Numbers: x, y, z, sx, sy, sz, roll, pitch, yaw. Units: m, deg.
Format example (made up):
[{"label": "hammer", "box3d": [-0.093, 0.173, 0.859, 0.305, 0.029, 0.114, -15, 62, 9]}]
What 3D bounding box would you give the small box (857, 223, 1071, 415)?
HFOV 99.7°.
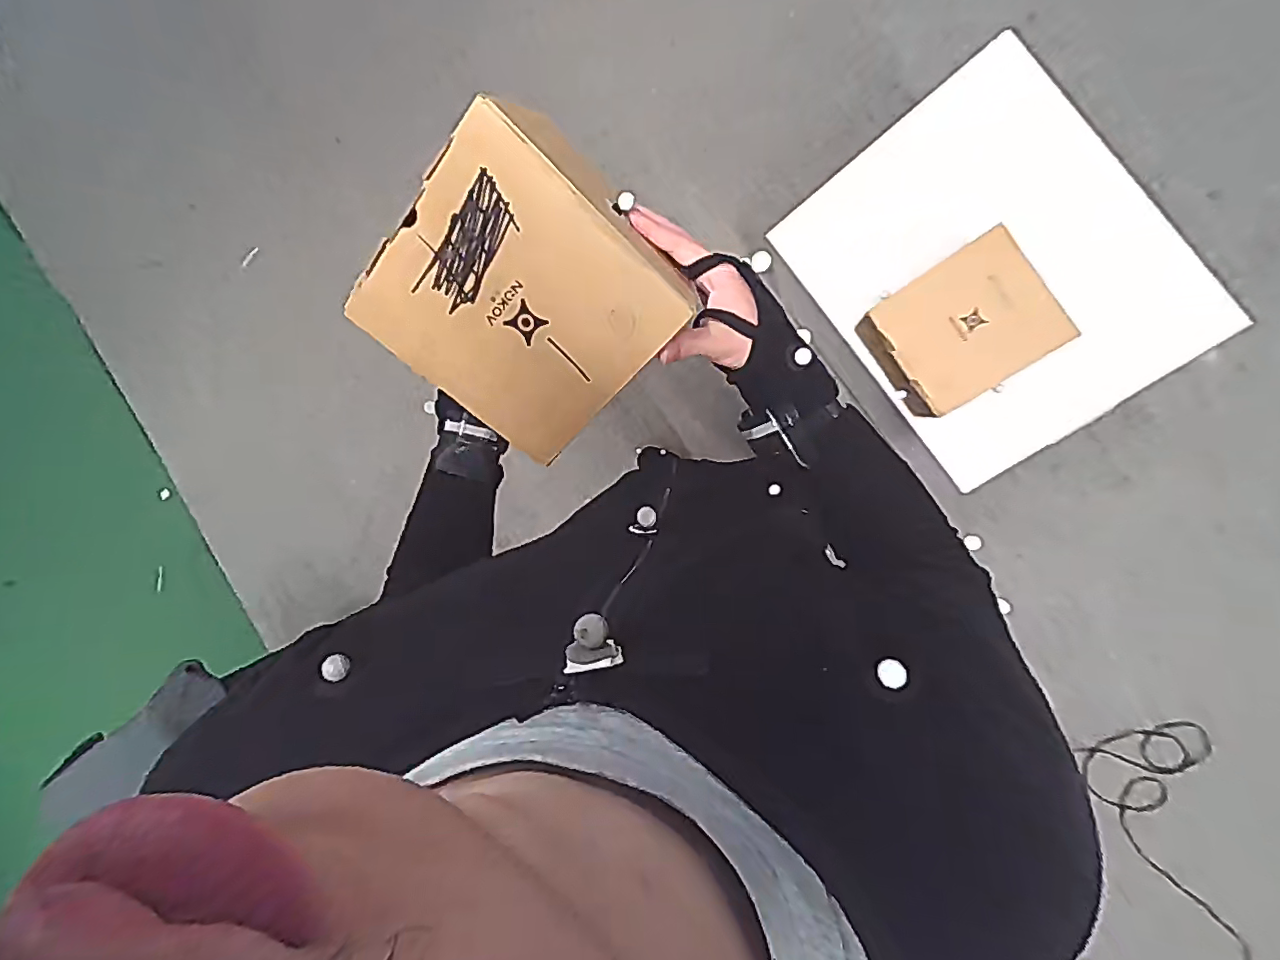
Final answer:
[{"label": "small box", "box3d": [0.417, -0.202, 0.736, 0.179, 0.176, 0.168, -34, 88, 16]}]
